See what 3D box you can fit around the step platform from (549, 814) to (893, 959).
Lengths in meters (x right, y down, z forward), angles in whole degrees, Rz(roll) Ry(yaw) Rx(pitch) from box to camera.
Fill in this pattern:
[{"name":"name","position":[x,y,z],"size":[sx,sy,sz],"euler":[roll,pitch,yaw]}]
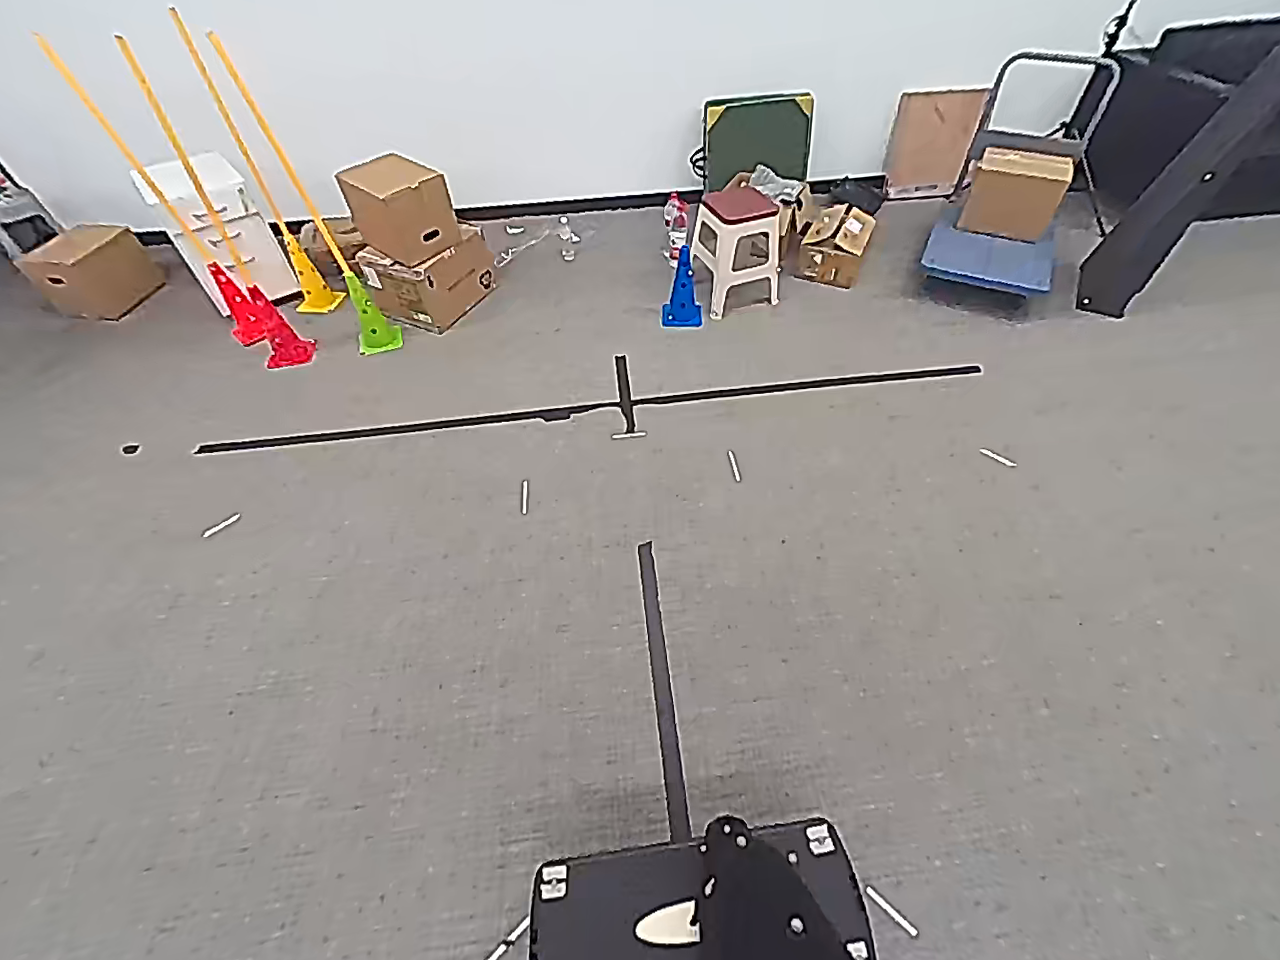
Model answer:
[{"name":"step platform","position":[0.153,0.921,1.137],"size":[0.684,0.204,0.286],"euler":[-7,50,-5]}]
